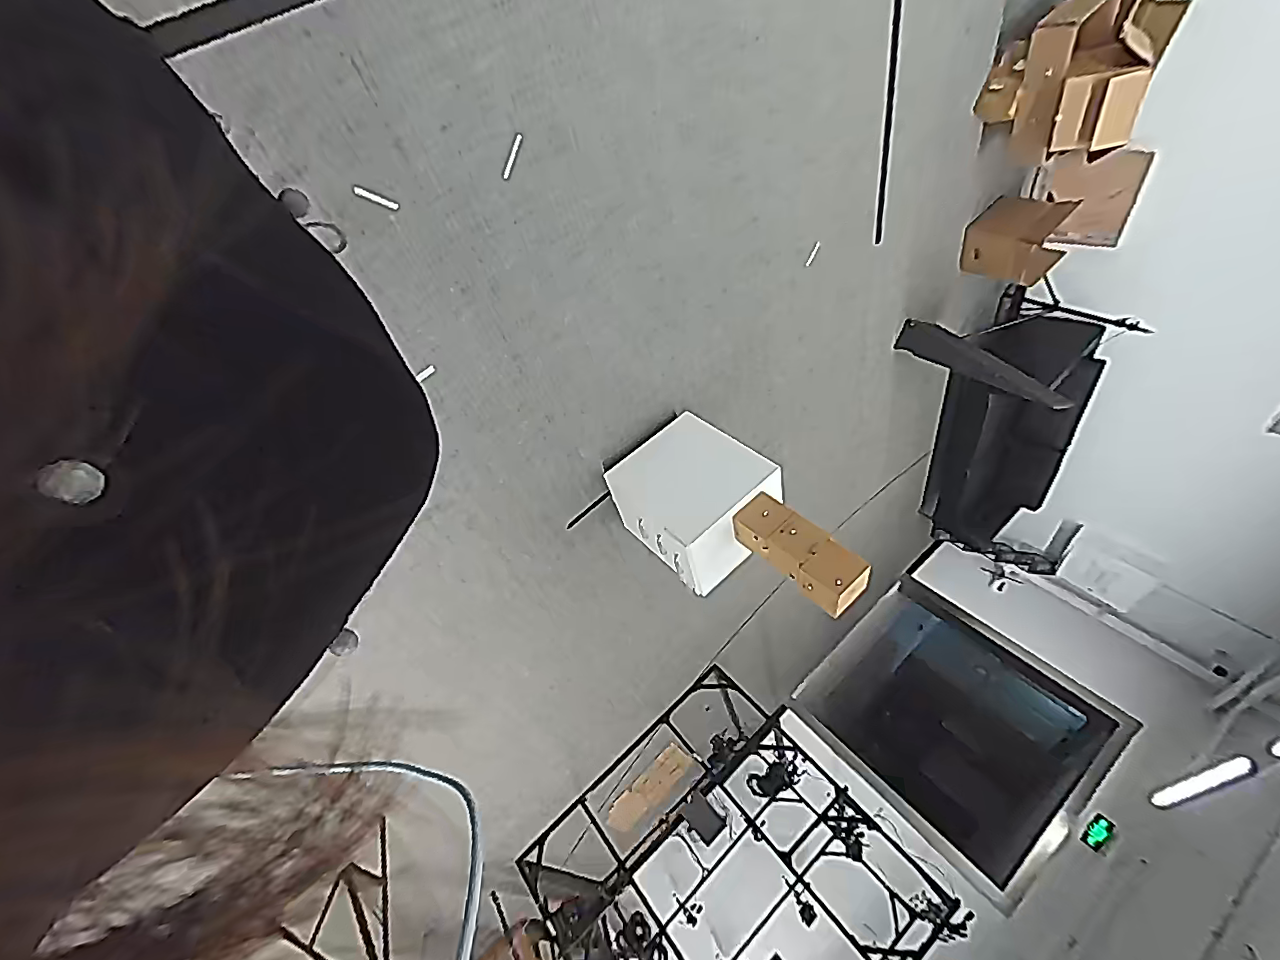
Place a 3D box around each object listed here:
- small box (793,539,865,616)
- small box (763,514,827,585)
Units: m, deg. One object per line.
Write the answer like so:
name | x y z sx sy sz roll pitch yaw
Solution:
small box | 0.678 0.347 1.946 0.179 0.176 0.168 -38 141 -18
small box | 0.582 0.263 2.049 0.168 0.176 0.179 -38 141 -19
